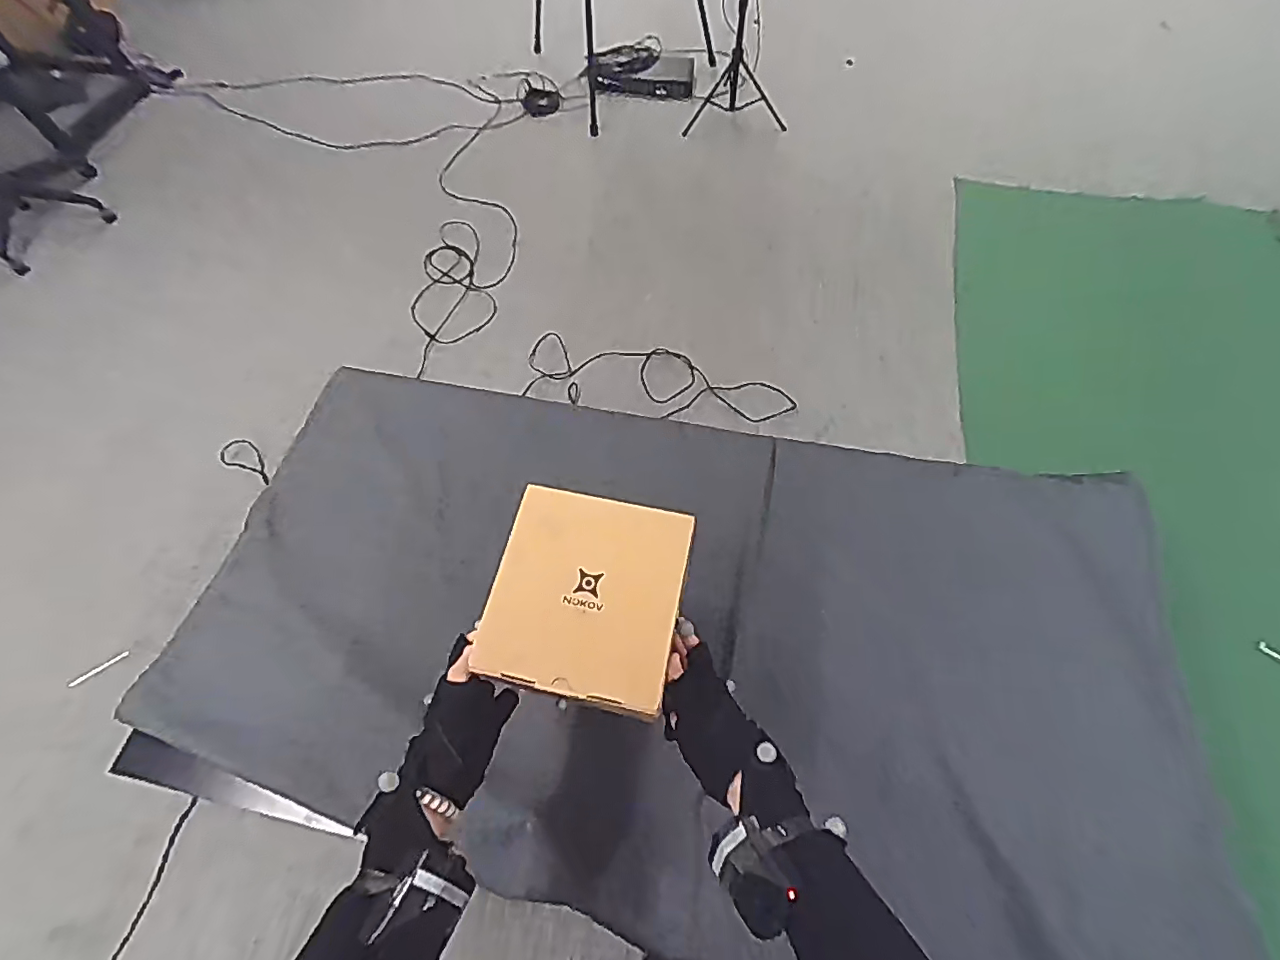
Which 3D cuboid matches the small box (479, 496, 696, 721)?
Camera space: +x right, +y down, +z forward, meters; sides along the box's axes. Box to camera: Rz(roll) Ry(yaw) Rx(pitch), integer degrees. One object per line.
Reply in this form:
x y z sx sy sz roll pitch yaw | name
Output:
-0.043 0.140 0.564 0.168 0.176 0.179 11 66 6 | small box
